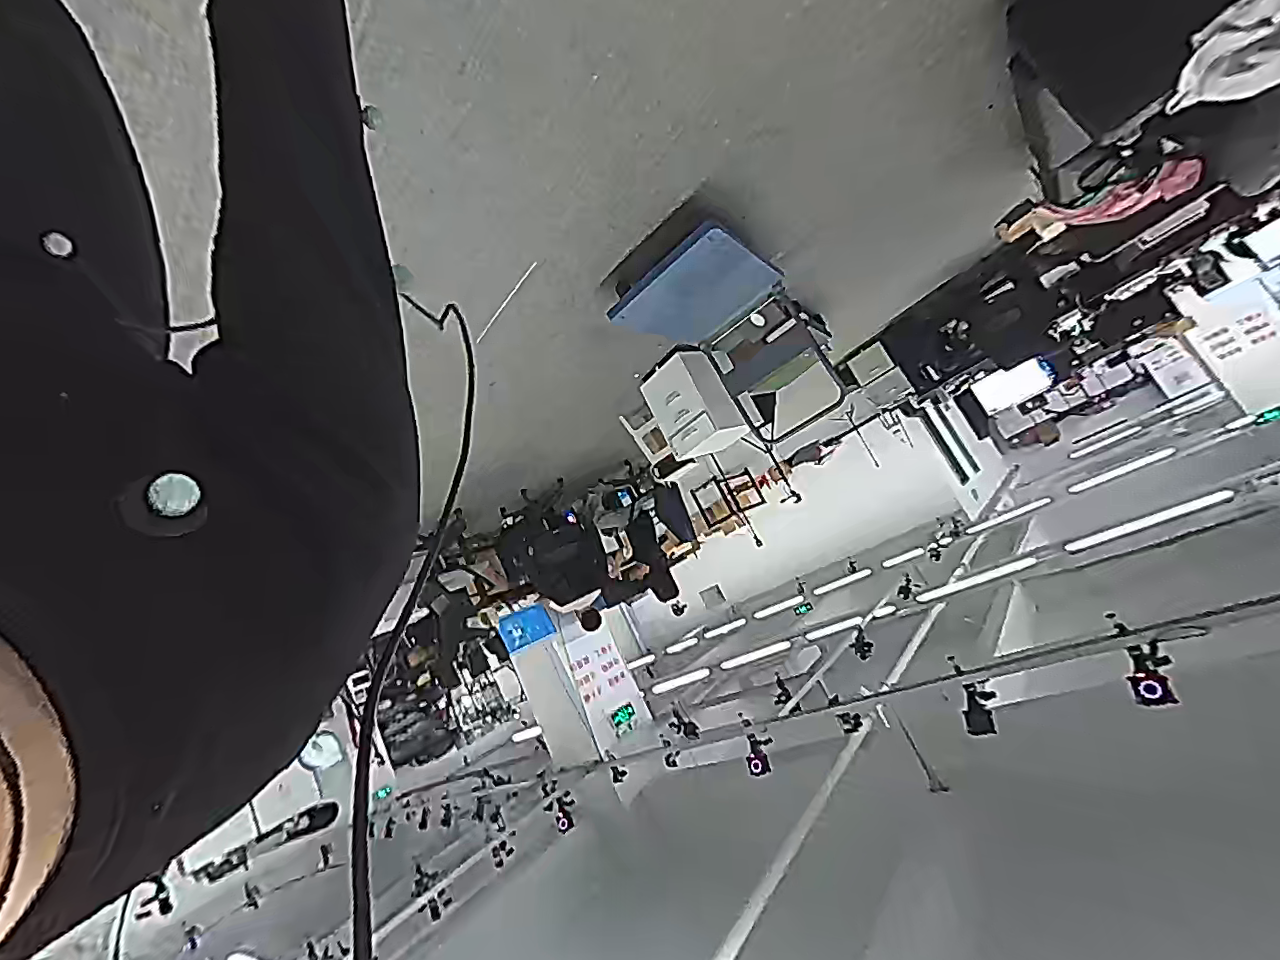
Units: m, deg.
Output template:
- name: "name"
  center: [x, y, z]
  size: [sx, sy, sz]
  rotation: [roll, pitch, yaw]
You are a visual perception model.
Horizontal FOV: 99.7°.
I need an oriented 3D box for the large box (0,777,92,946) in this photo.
- name: "large box"
  center: [-1.648, 0.996, 1.302]
  size: [0.320, 0.320, 0.408]
  rotation: [-34, 168, 36]
